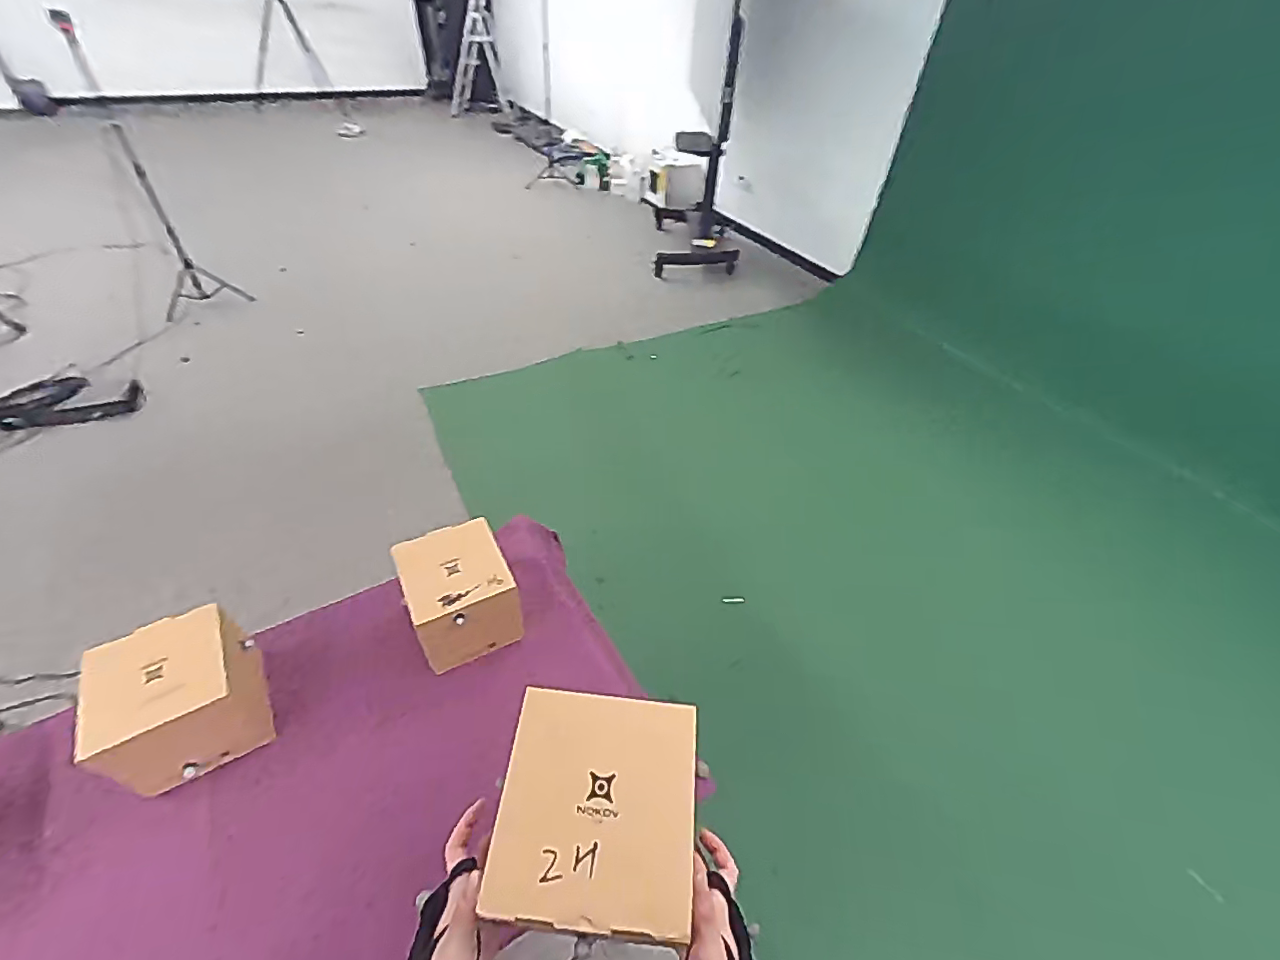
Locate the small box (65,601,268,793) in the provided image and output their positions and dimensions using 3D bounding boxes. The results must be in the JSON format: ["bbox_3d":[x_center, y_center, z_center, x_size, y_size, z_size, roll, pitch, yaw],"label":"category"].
[{"bbox_3d":[-0.685,0.320,0.801,0.168,0.176,0.179,-22,51,-25],"label":"small box"}]

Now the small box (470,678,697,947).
[{"bbox_3d":[-0.042,0.314,0.511,0.168,0.176,0.179,6,48,3],"label":"small box"}]

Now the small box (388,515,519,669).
[{"bbox_3d":[-0.326,0.197,0.960,0.168,0.176,0.179,-20,49,-23],"label":"small box"}]
